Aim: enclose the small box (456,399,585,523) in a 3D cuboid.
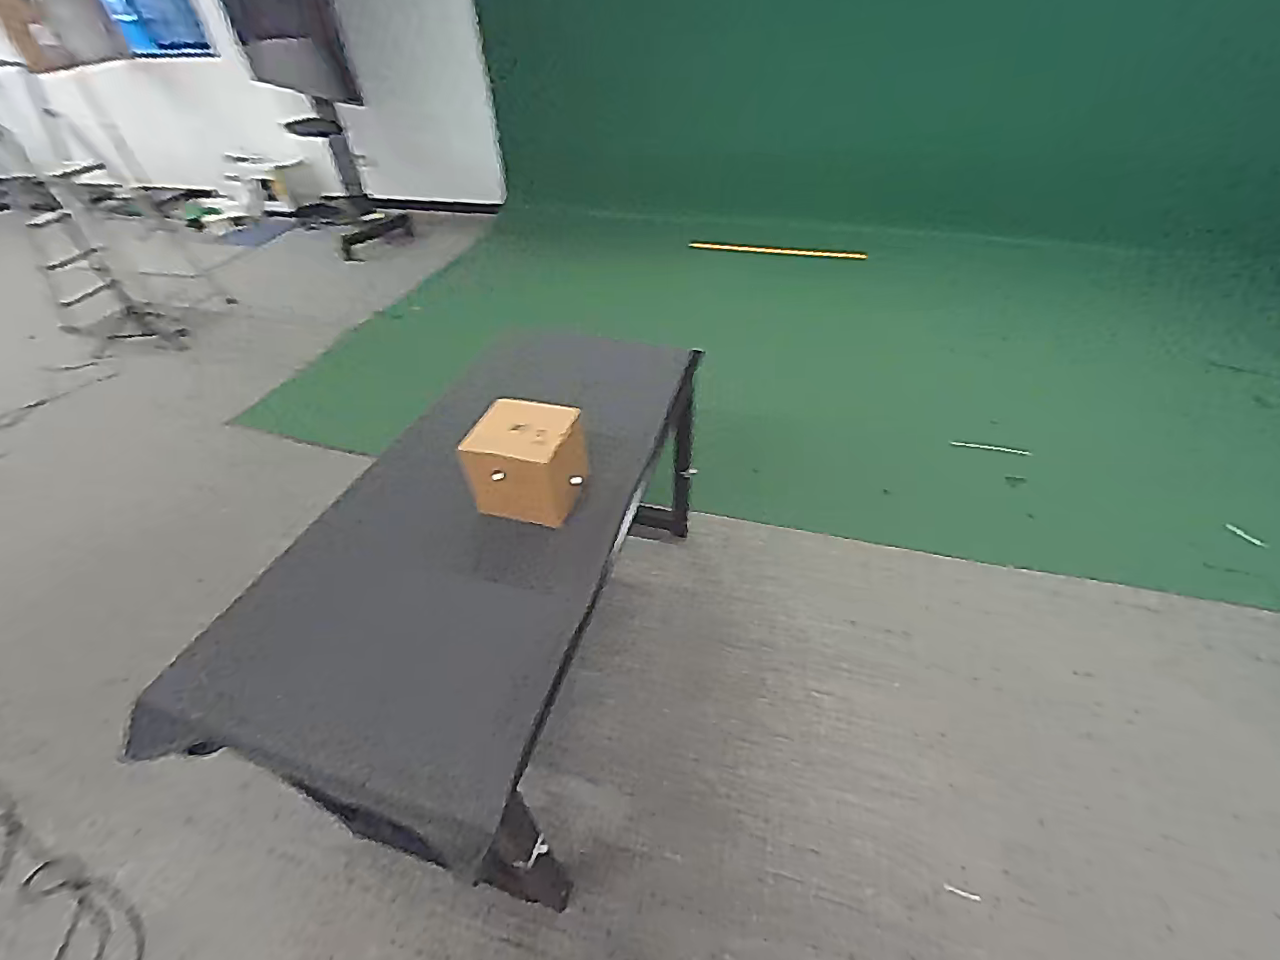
[{"bbox_3d":[-0.222,-0.037,1.052,0.179,0.176,0.168,9,45,13],"label":"small box"}]
